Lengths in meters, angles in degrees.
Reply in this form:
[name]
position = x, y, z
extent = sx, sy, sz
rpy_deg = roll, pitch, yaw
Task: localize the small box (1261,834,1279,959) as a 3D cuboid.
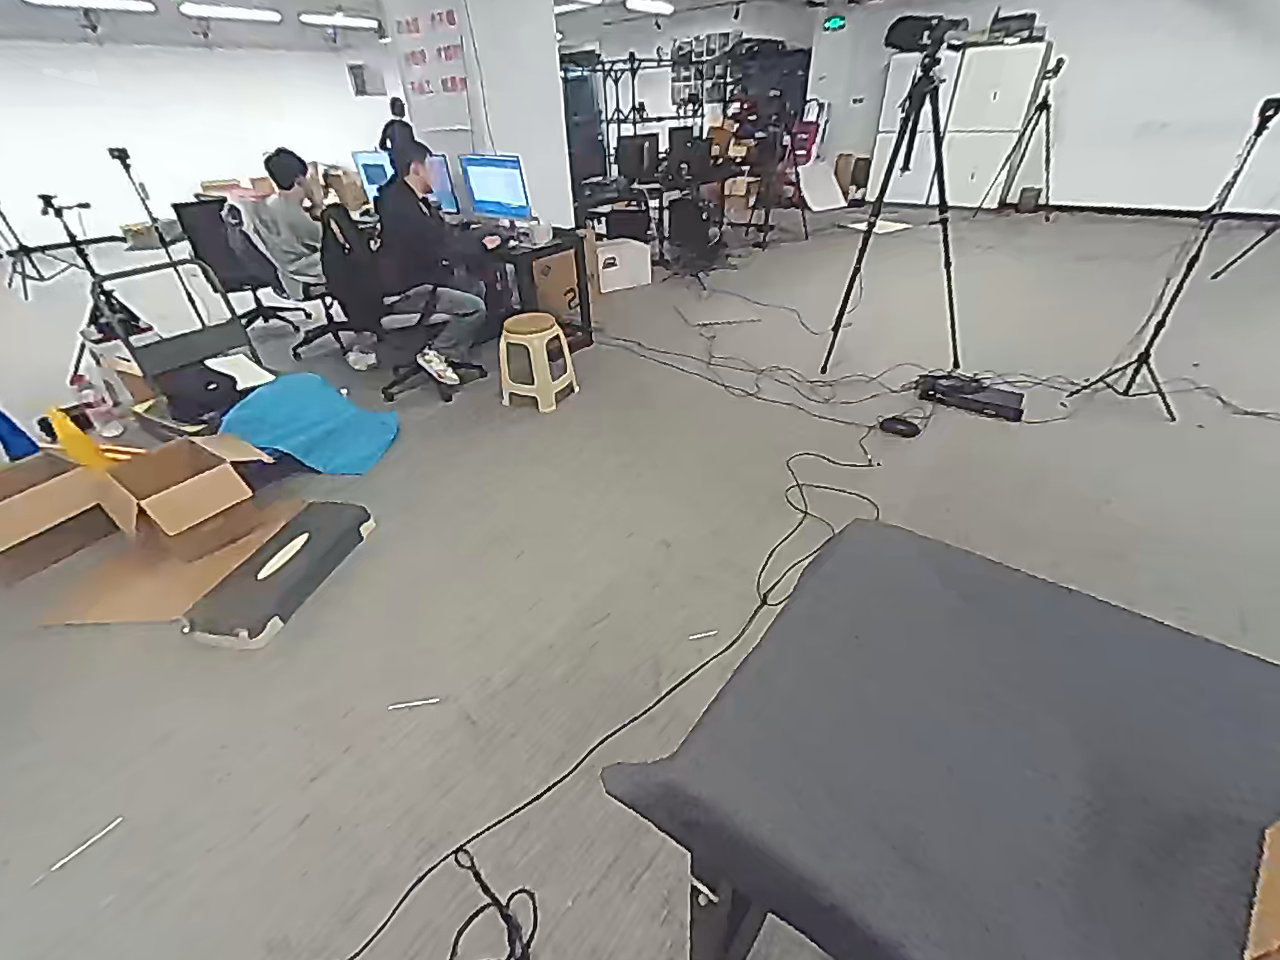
[small box]
position = 0.664, 0.371, 0.433
extent = 0.179, 0.176, 0.168
rpy_deg = -29, 42, -33
